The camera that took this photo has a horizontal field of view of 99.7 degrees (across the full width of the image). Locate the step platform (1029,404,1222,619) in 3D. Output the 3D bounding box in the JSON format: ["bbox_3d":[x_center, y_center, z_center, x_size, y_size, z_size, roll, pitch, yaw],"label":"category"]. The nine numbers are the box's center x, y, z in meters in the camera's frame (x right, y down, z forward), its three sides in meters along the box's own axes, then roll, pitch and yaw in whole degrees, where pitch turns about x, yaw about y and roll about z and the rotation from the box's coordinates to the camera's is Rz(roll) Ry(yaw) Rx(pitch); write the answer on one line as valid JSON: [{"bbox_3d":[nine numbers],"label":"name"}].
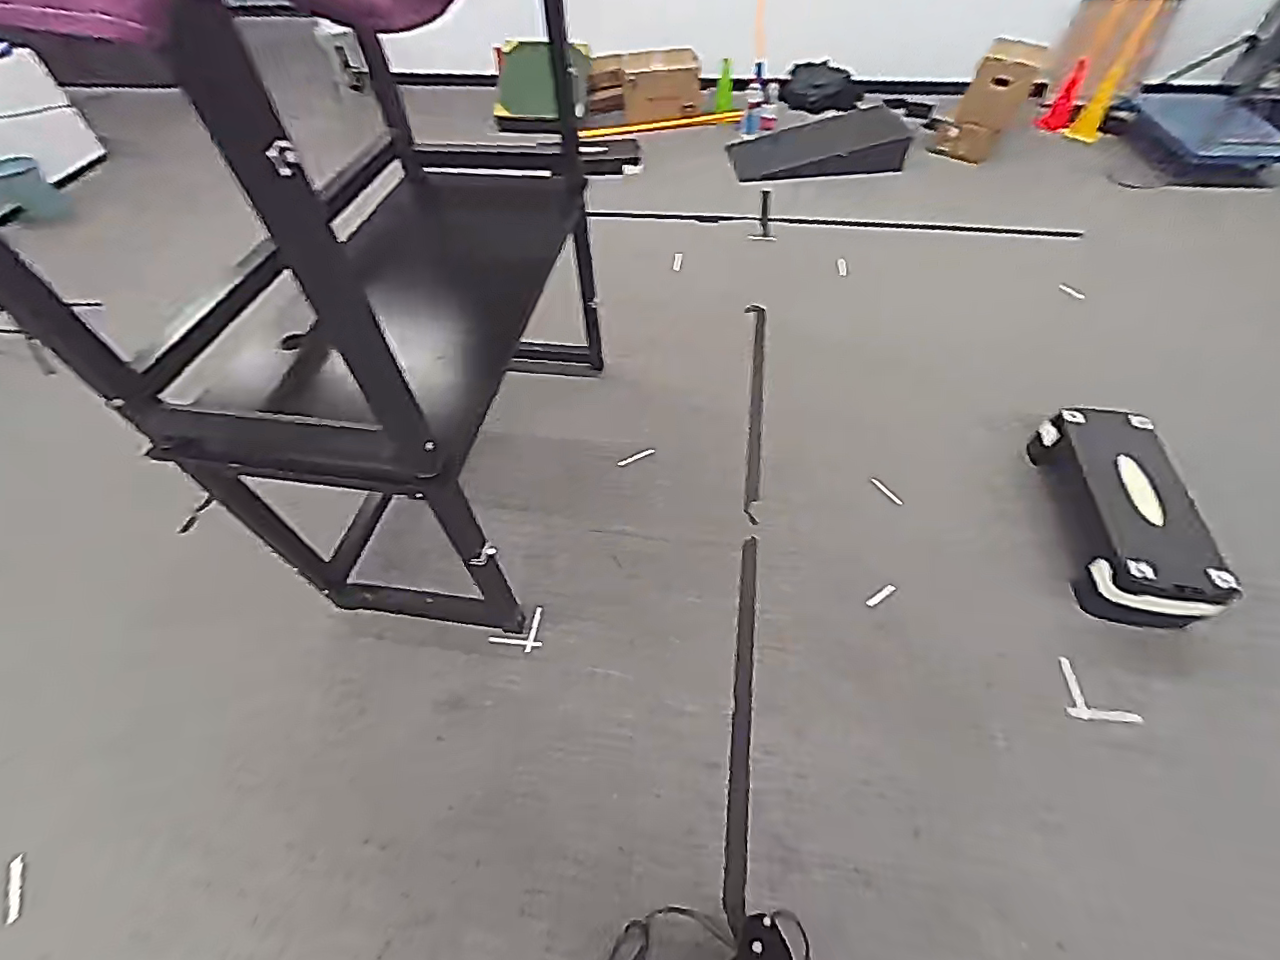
[{"bbox_3d":[1.448,0.063,1.657,0.286,0.204,0.684,10,52,10],"label":"step platform"}]
